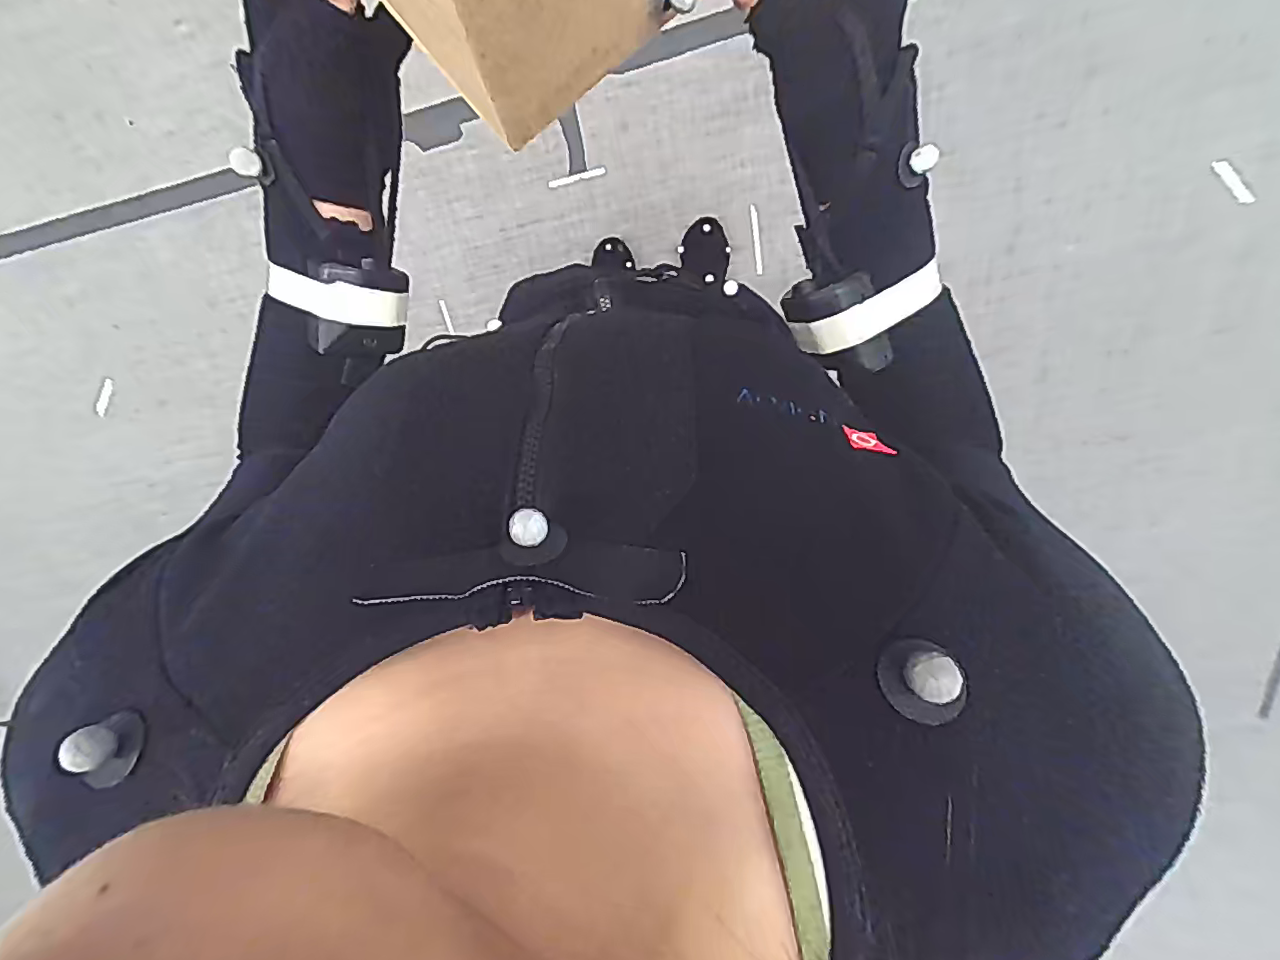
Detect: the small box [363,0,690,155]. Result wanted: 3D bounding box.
[{"bbox_3d":[-0.064,-0.273,0.181,0.168,0.176,0.179,-38,90,1],"label":"small box"}]
